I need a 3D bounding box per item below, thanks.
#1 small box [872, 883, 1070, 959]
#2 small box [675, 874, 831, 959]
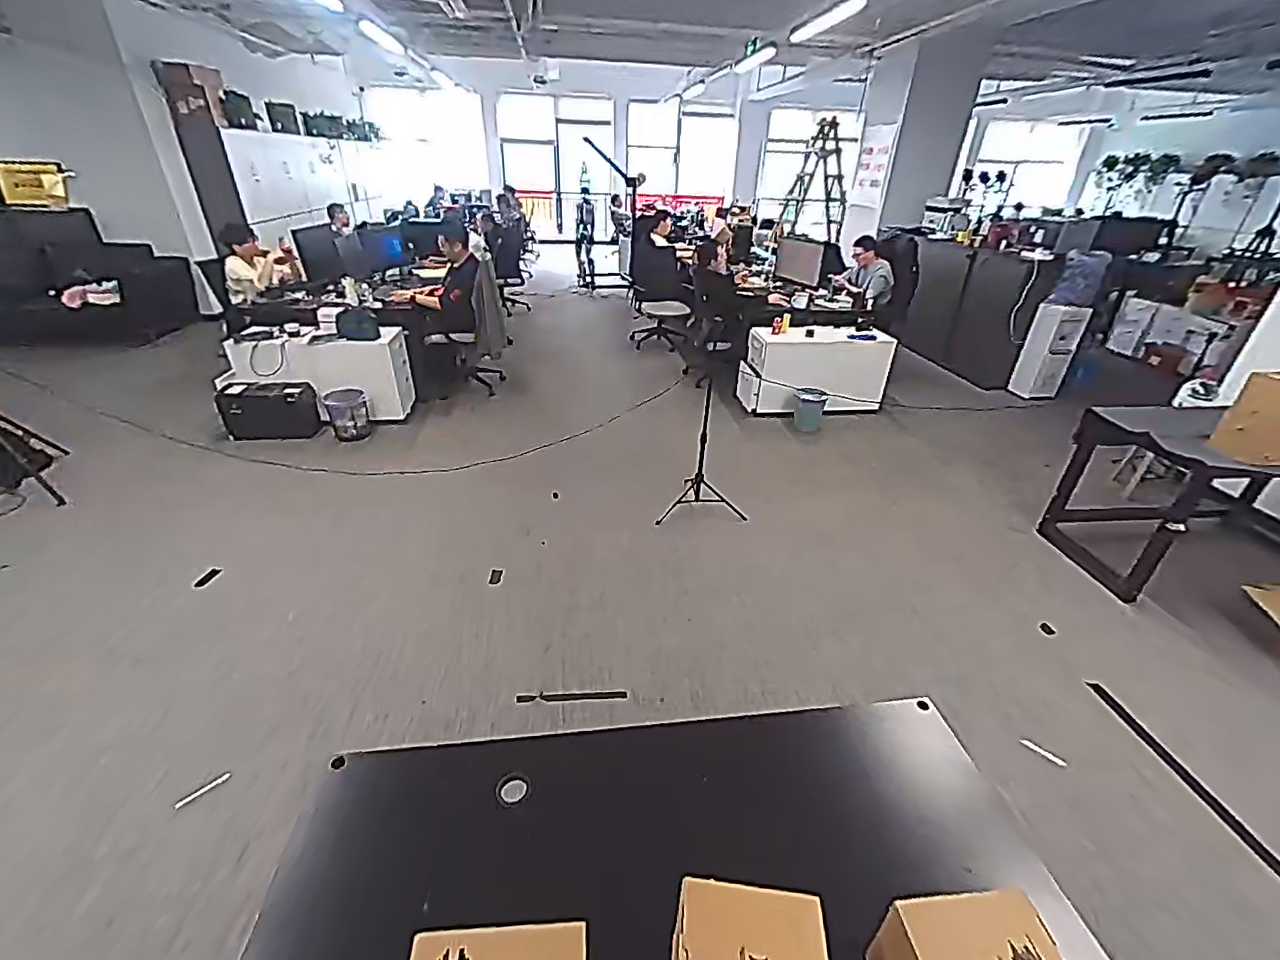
[{"bbox_3d":[0.412,0.629,0.658,0.179,0.176,0.168,-3,30,-5],"label":"small box"},{"bbox_3d":[0.132,0.624,0.660,0.179,0.176,0.168,3,30,5],"label":"small box"}]
